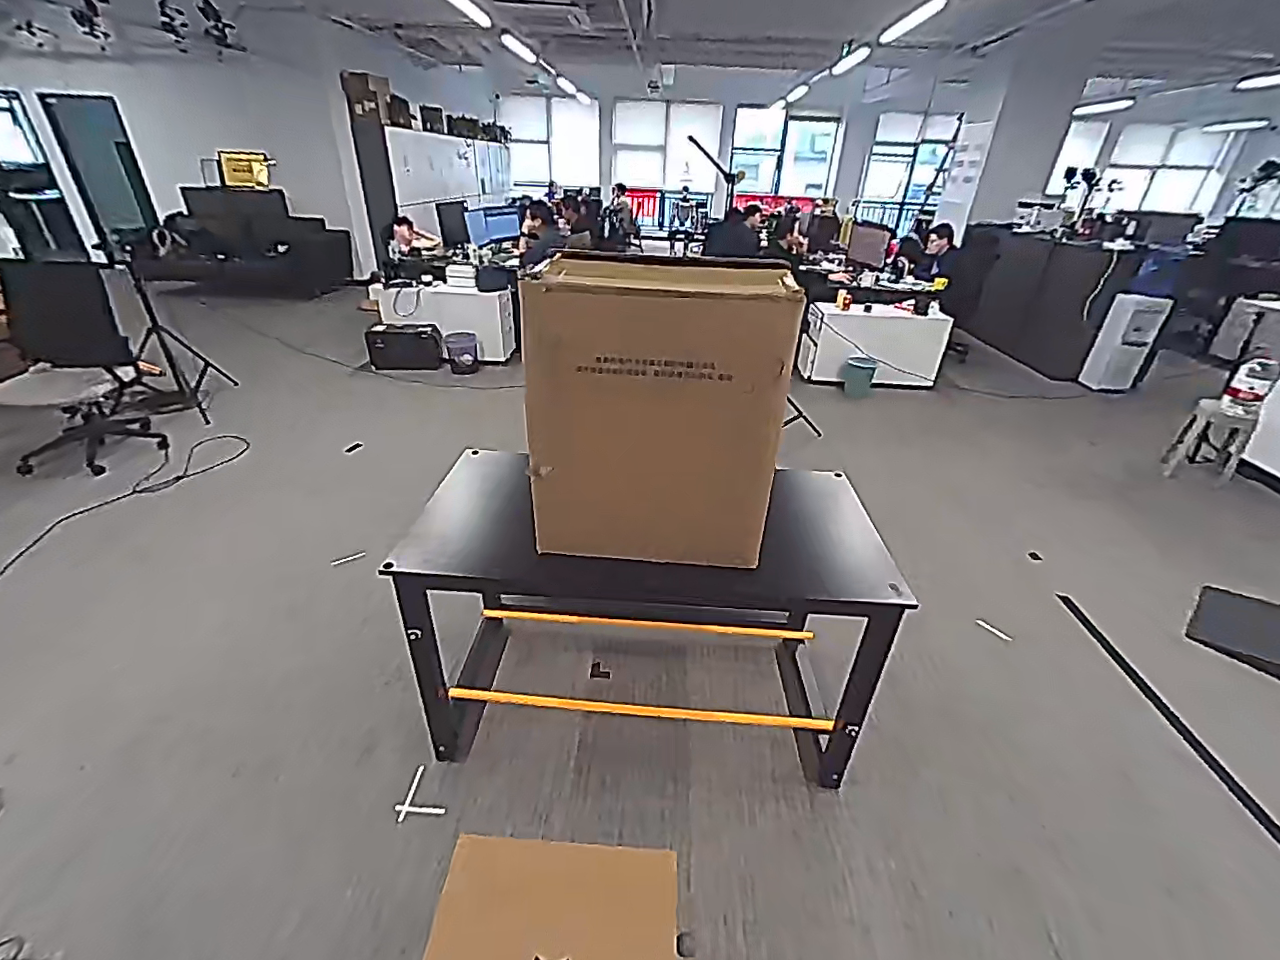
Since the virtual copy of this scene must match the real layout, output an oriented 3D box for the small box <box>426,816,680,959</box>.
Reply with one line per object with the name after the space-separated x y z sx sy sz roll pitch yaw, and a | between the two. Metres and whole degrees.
-0.060 0.378 0.388 0.168 0.176 0.179 3 35 1 | small box
